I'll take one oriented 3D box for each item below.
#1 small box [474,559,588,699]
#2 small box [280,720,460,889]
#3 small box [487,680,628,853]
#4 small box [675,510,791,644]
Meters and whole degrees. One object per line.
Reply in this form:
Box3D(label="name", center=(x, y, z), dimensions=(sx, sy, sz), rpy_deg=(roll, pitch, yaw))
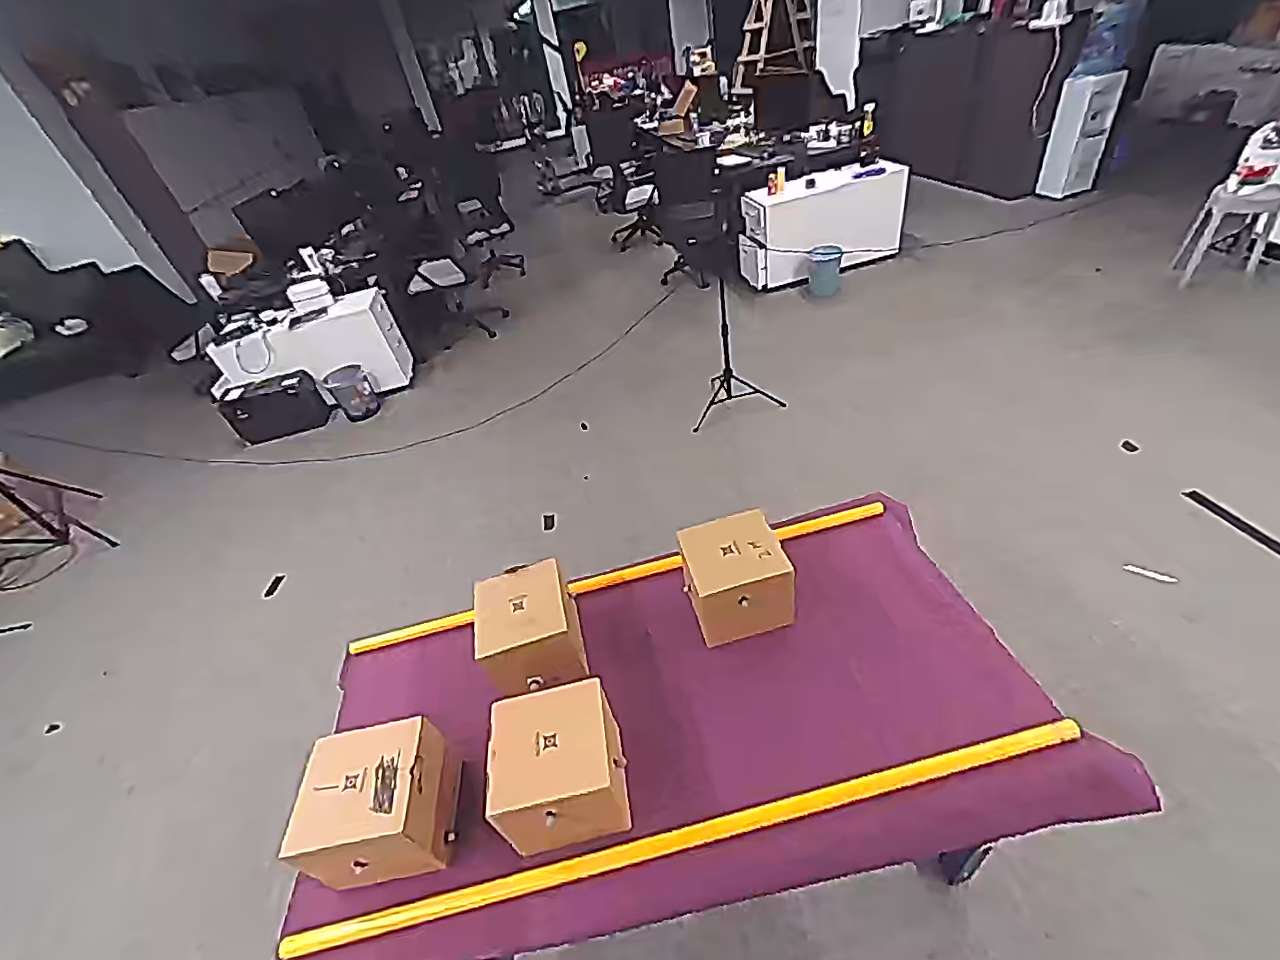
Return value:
Box3D(label="small box", center=(-0.209, 0.289, 1.039), dimensions=(0.168, 0.176, 0.179), rpy_deg=(-17, 41, -4))
Box3D(label="small box", center=(-0.397, 0.502, 0.836), dimensions=(0.179, 0.176, 0.168), rpy_deg=(-12, 40, 1))
Box3D(label="small box", center=(-0.120, 0.442, 0.835), dimensions=(0.179, 0.176, 0.168), rpy_deg=(-14, 39, 0))
Box3D(label="small box", center=(0.181, 0.191, 1.046), dimensions=(0.179, 0.176, 0.168), rpy_deg=(-15, 41, -2))
